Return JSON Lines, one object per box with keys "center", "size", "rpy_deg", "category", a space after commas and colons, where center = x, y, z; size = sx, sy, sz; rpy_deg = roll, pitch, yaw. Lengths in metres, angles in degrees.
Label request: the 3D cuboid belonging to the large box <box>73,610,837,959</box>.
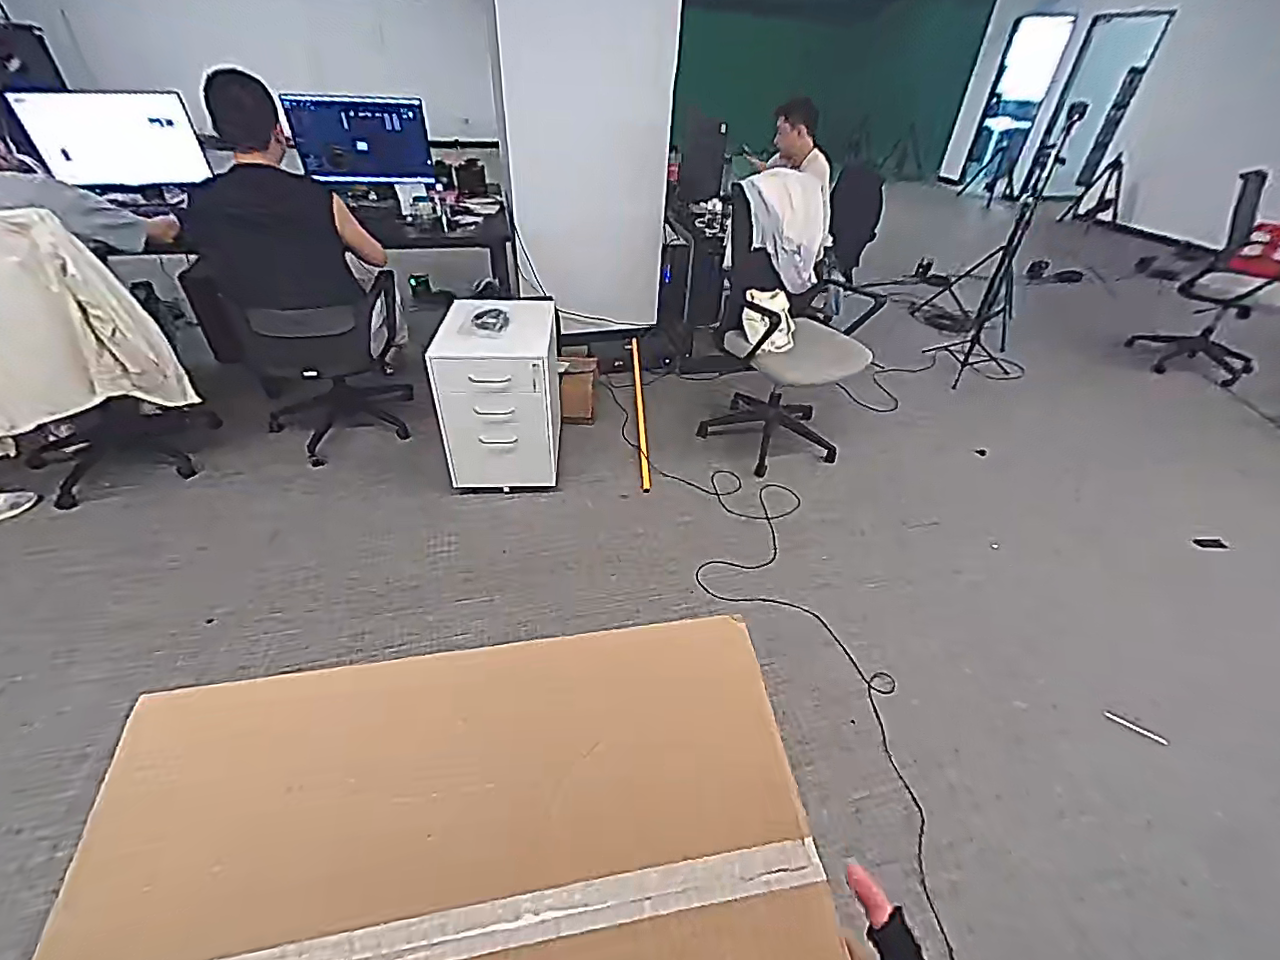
{"center": [-0.106, 0.333, 0.413], "size": [0.408, 0.320, 0.320], "rpy_deg": [-6, 52, -8], "category": "large box"}
